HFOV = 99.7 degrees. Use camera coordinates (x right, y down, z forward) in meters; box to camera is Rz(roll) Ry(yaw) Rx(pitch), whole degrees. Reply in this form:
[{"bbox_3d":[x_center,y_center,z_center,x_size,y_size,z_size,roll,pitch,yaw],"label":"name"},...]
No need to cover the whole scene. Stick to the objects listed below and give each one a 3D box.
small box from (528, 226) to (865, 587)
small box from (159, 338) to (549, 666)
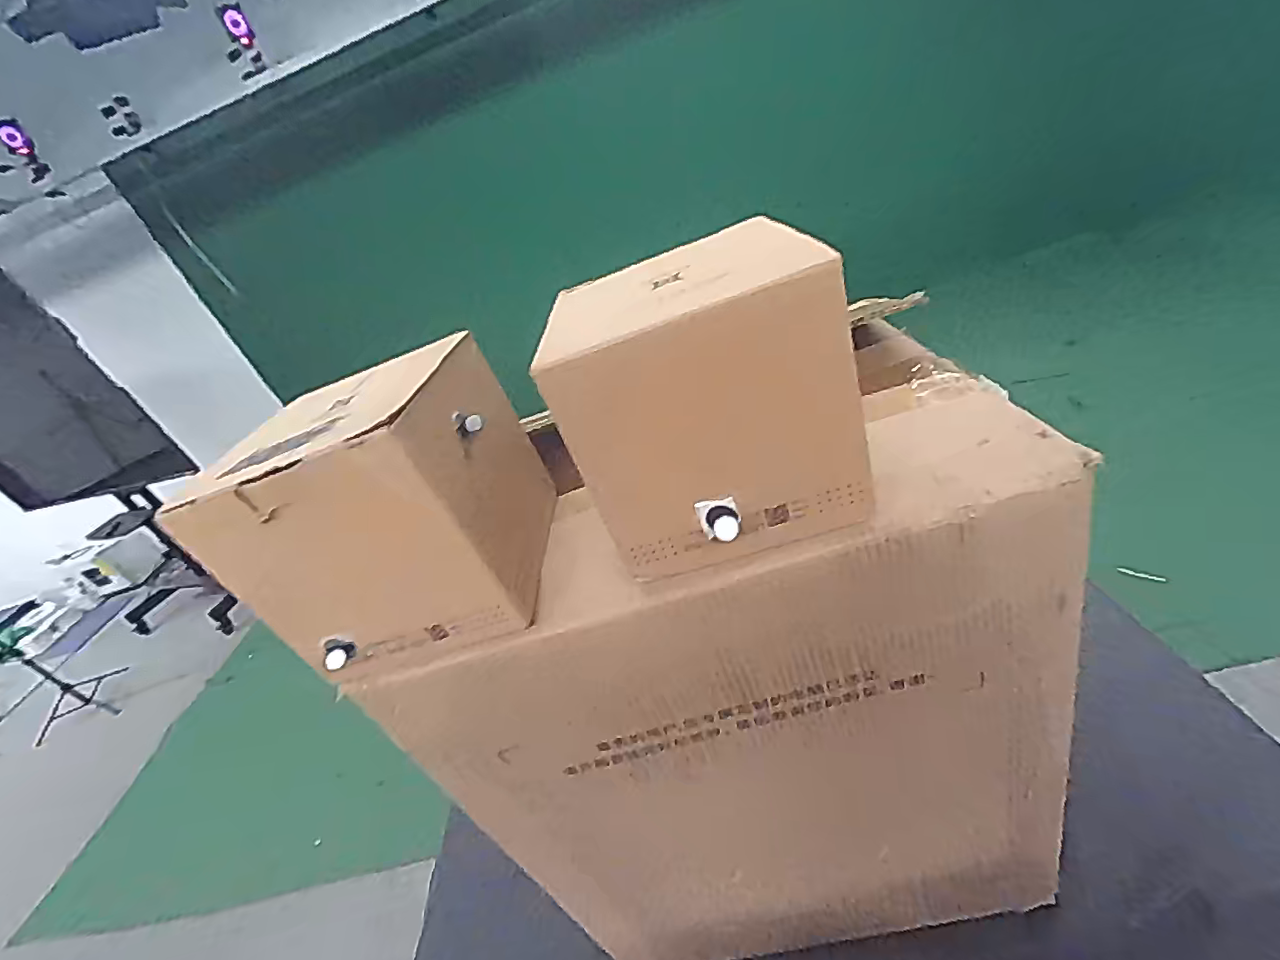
[{"bbox_3d":[0.041,-0.056,0.385,0.168,0.176,0.179,-19,32,9],"label":"small box"},{"bbox_3d":[-0.185,0.020,0.418,0.168,0.176,0.179,-18,30,10],"label":"small box"}]
